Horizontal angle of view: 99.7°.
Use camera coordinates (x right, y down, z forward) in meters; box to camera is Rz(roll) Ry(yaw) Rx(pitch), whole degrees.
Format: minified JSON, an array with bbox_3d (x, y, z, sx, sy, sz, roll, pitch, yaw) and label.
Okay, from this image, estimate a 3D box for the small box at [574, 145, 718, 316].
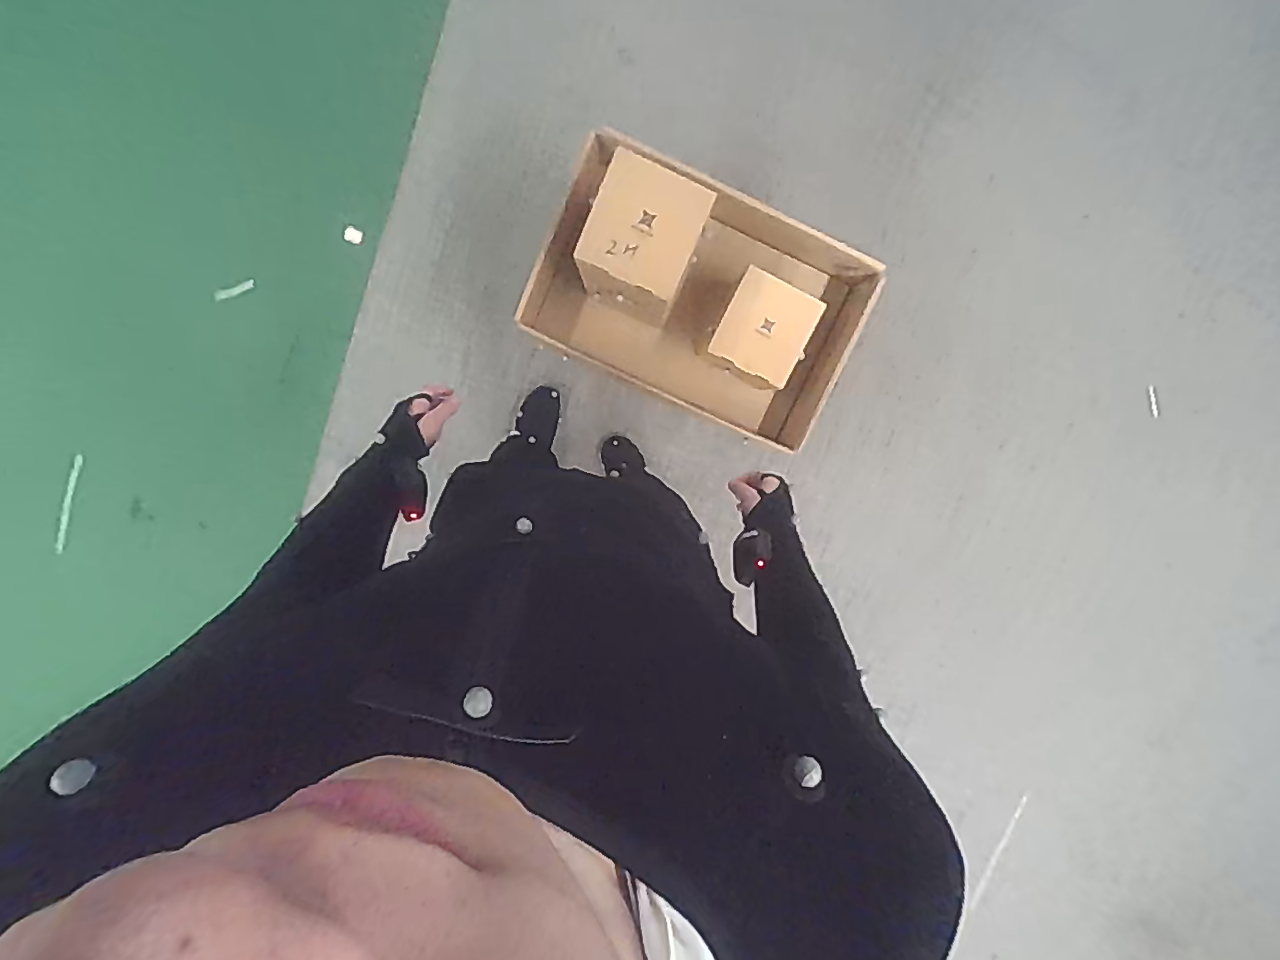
[{"bbox_3d":[0.006,-0.392,0.885,0.168,0.176,0.179,25,97,-5],"label":"small box"}]
